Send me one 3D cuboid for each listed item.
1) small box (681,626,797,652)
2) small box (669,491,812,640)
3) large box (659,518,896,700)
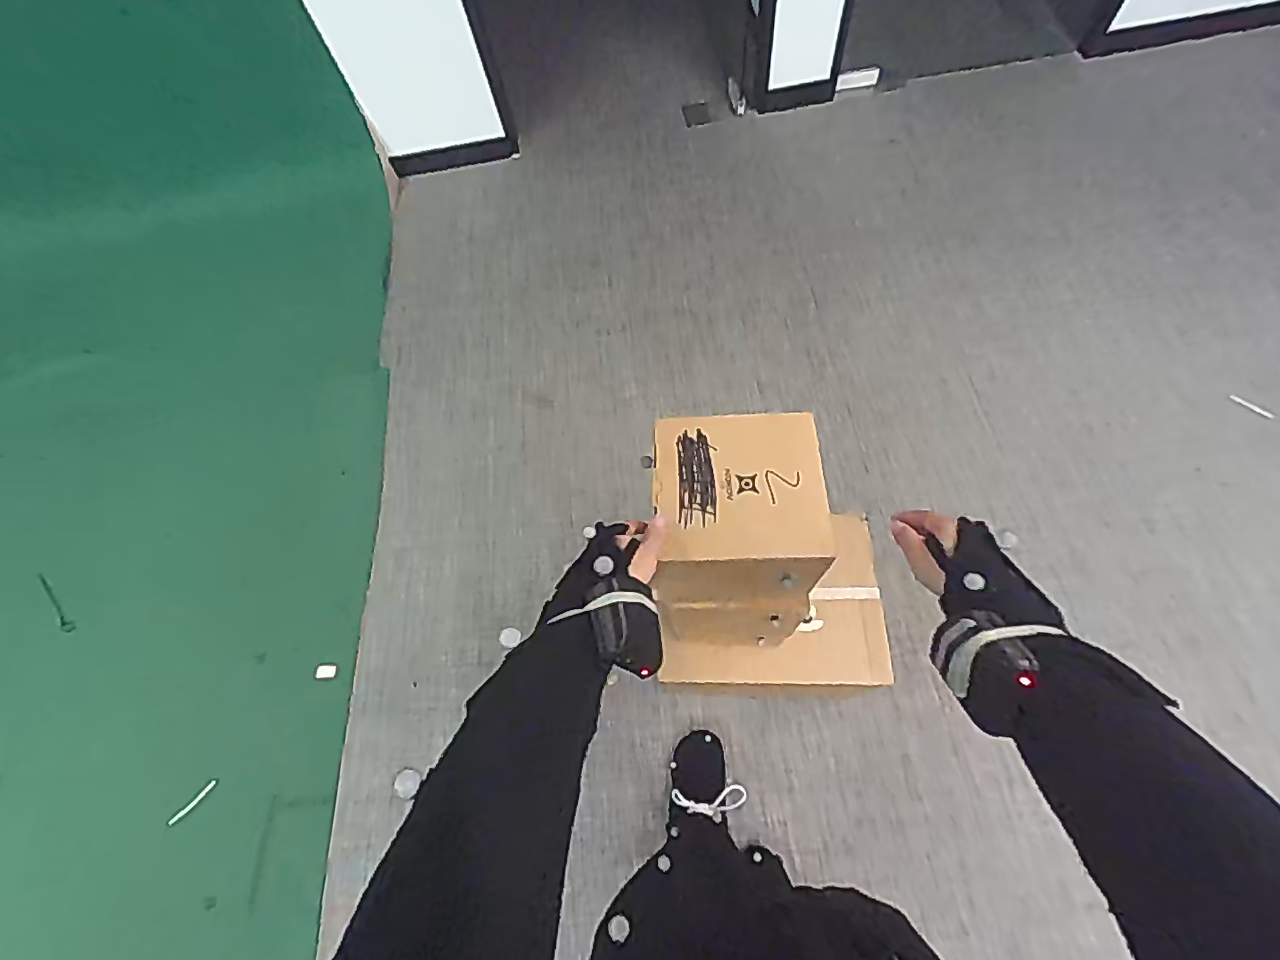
[{"bbox_3d":[0.157,0.191,0.911,0.179,0.176,0.168,-2,63,6],"label":"small box"},{"bbox_3d":[0.134,0.126,0.763,0.179,0.176,0.168,1,63,6],"label":"small box"},{"bbox_3d":[0.249,0.282,1.127,0.408,0.320,0.320,-1,65,5],"label":"large box"}]
